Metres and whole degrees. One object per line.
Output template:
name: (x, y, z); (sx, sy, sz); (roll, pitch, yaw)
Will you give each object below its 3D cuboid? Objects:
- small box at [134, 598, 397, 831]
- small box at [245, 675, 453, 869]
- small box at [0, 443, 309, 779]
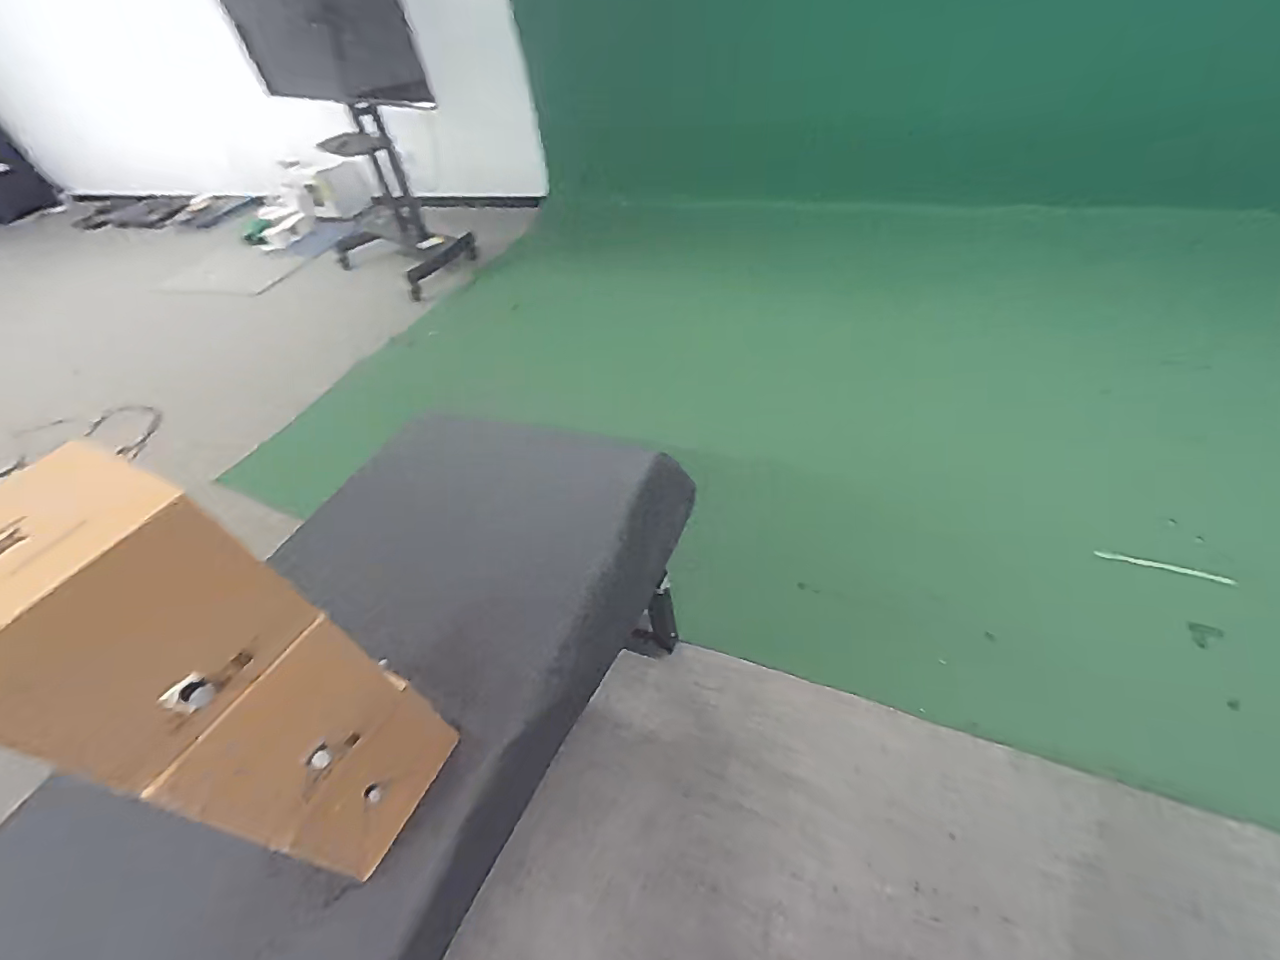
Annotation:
small box: (-0.388, 0.212, 0.535); (0.179, 0.176, 0.168); (12, 49, 25)
small box: (-0.360, 0.327, 0.649); (0.168, 0.176, 0.179); (14, 51, 23)
small box: (-0.415, 0.100, 0.421); (0.179, 0.176, 0.168); (16, 53, 24)
